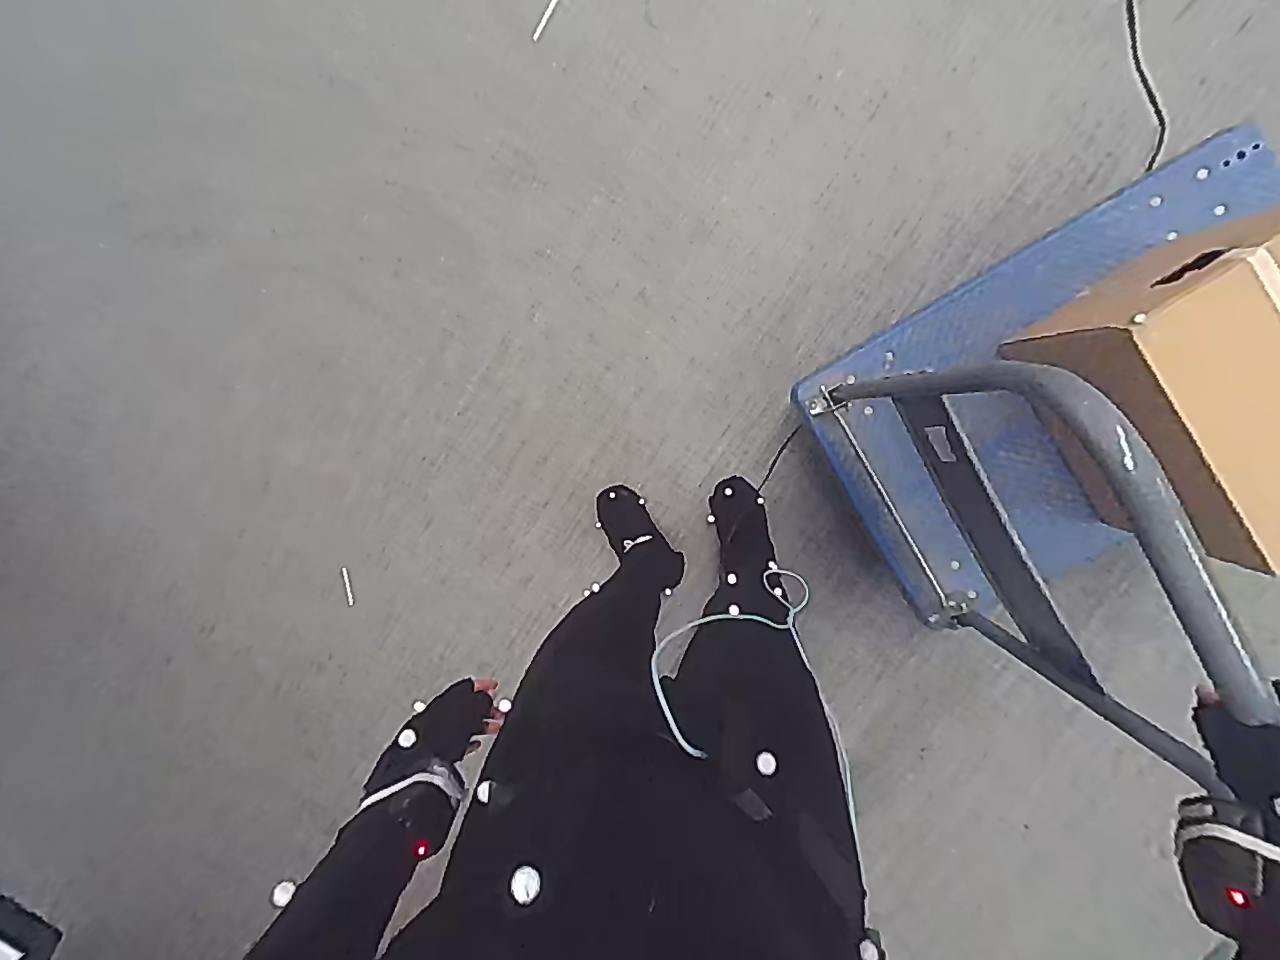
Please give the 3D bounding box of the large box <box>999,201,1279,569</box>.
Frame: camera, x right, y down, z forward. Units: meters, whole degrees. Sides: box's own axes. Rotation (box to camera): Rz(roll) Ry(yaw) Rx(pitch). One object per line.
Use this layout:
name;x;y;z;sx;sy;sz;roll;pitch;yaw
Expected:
large box;0.870;-0.144;0.829;0.320;0.320;0.408;-34;94;9
